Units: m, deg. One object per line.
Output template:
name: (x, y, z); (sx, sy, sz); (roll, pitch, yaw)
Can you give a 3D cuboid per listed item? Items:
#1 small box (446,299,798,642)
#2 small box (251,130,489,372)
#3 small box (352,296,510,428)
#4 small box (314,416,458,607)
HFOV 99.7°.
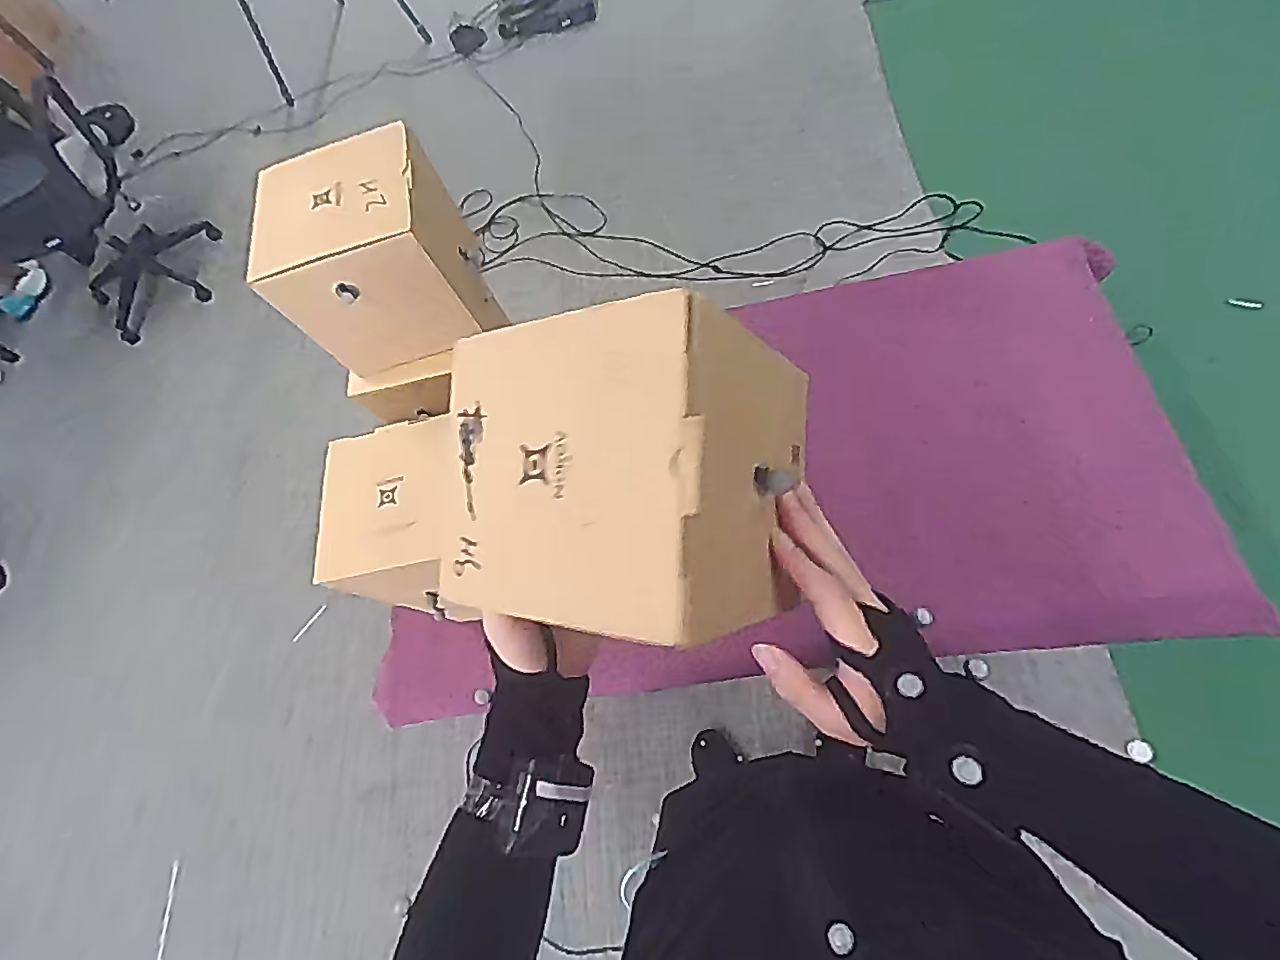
small box: (0.000, 0.000, 0.363); (0.179, 0.176, 0.168); (0, 84, 32)
small box: (-0.294, -0.249, 0.621); (0.179, 0.176, 0.168); (-15, 66, 5)
small box: (-0.273, -0.162, 0.762); (0.168, 0.176, 0.179); (-12, 66, 6)
small box: (-0.264, 0.047, 0.674); (0.168, 0.176, 0.179); (-11, 66, 7)
